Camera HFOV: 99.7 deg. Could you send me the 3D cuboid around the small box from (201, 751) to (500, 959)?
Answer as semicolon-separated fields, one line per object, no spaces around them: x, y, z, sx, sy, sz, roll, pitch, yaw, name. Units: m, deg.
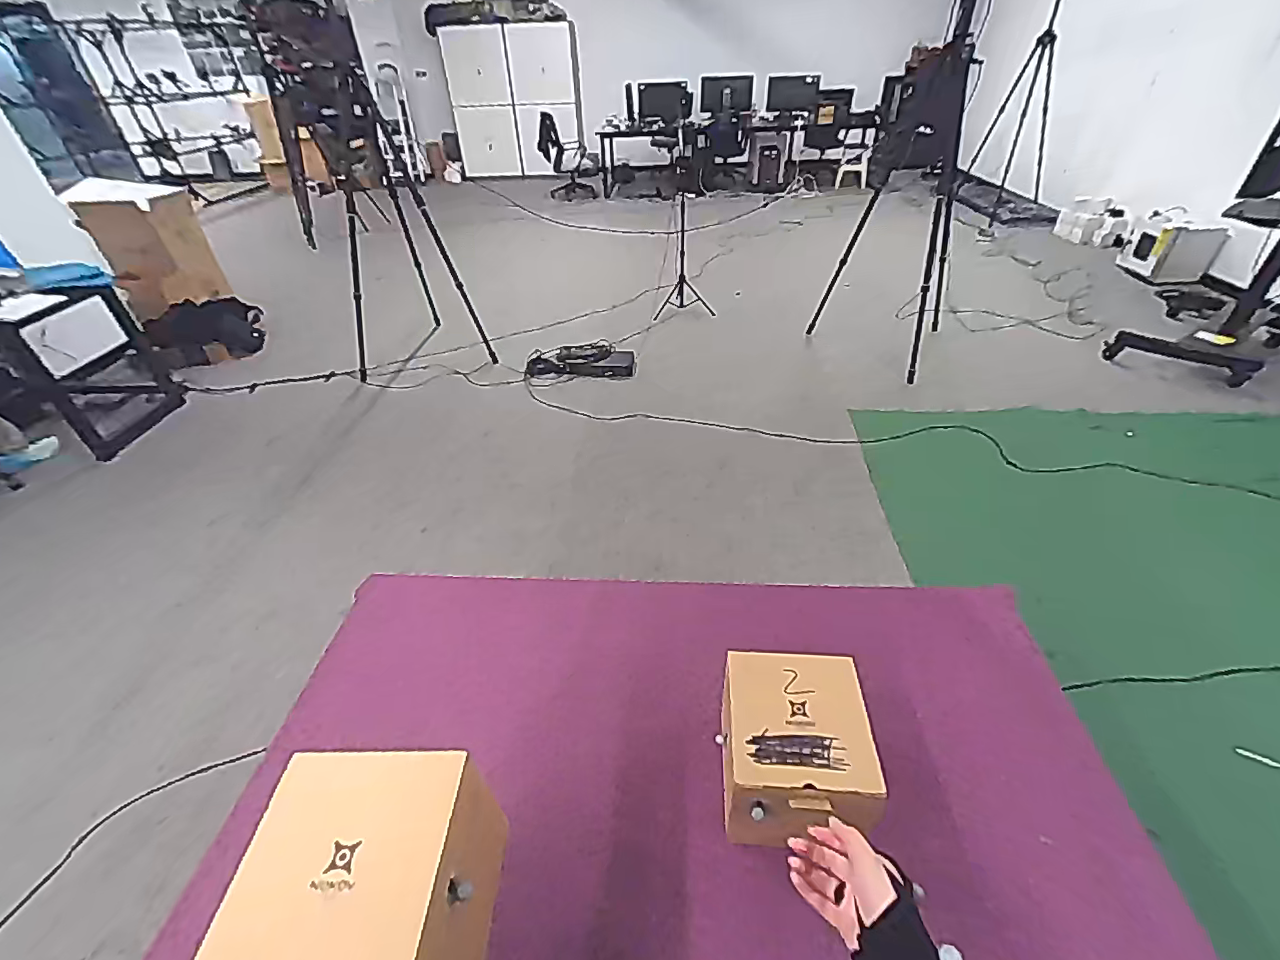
-0.237;0.374;0.496;0.168;0.176;0.179;-2;41;3;small box
